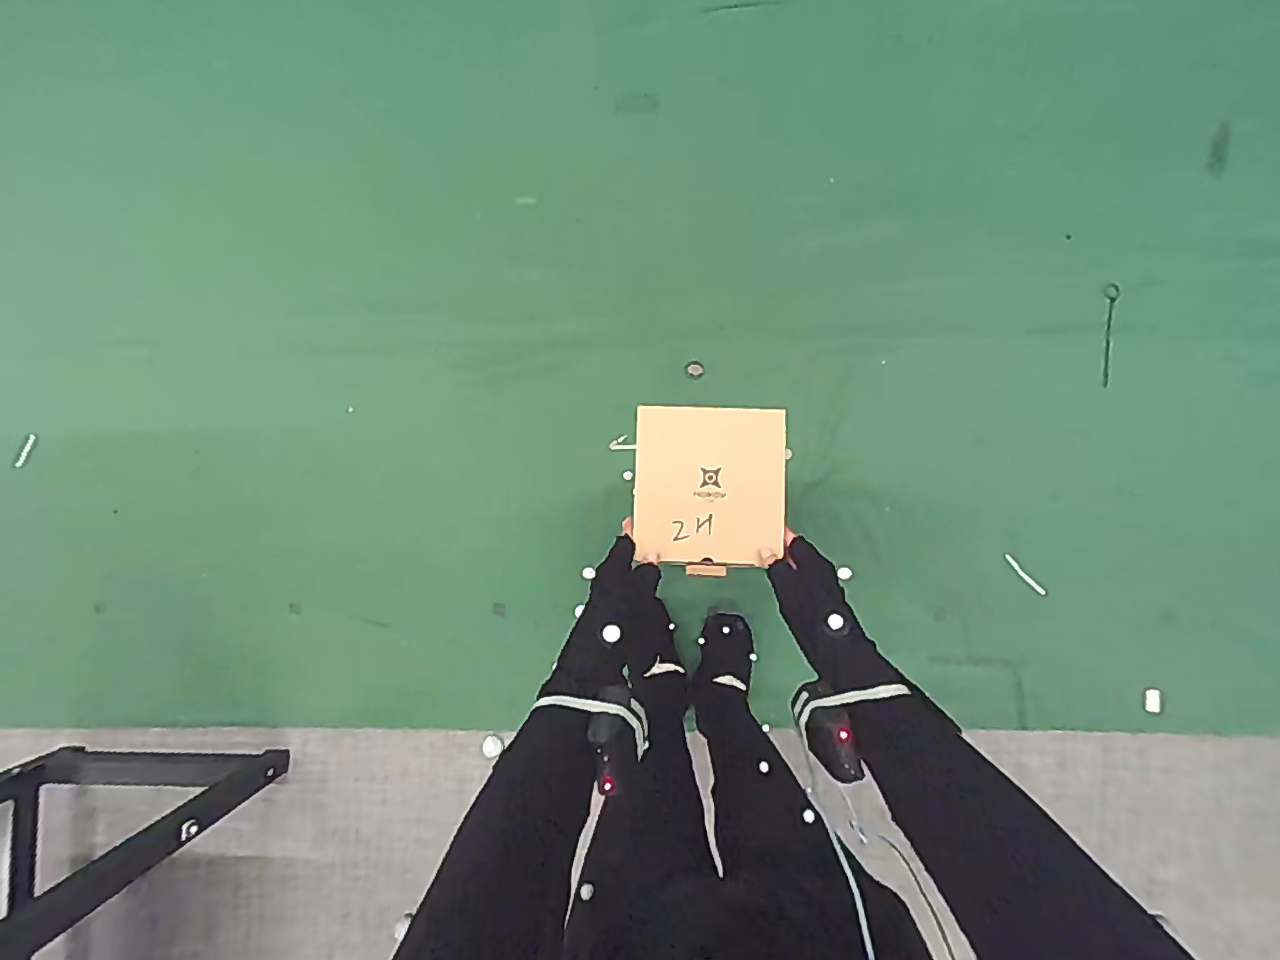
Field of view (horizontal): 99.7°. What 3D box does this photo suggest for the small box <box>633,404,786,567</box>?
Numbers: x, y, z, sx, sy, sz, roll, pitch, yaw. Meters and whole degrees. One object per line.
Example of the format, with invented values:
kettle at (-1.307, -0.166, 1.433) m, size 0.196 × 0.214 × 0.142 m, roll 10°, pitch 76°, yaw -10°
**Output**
small box at (0.079, 0.011, 0.674) m, size 0.168 × 0.176 × 0.179 m, roll 2°, pitch 86°, yaw 2°
